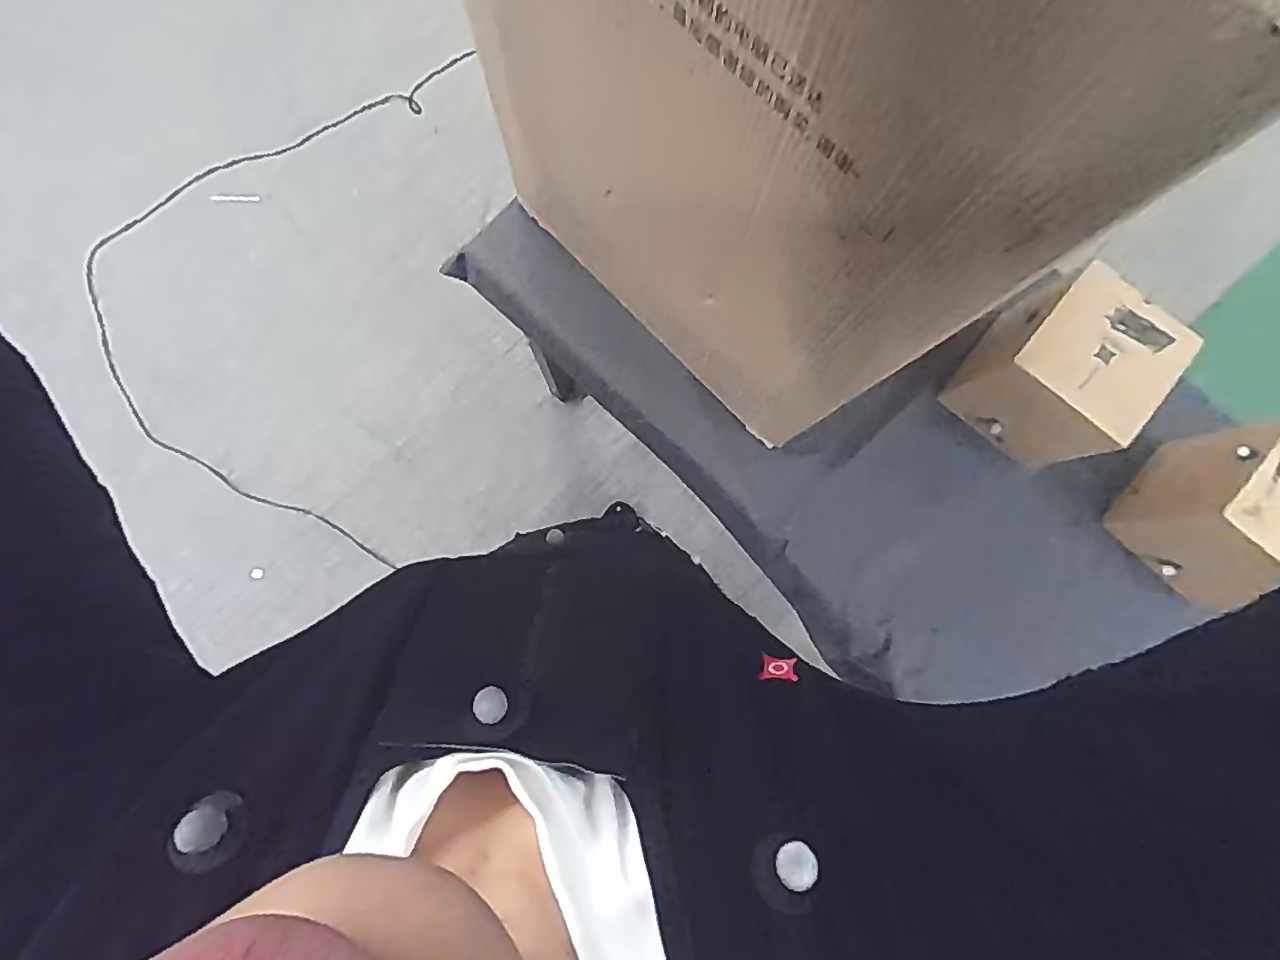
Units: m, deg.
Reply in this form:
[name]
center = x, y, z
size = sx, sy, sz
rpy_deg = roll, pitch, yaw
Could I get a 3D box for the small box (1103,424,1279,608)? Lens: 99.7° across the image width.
[small box]
center = 0.786, 0.049, 0.710
size = 0.179, 0.176, 0.168
rpy_deg = 44, 83, 4
